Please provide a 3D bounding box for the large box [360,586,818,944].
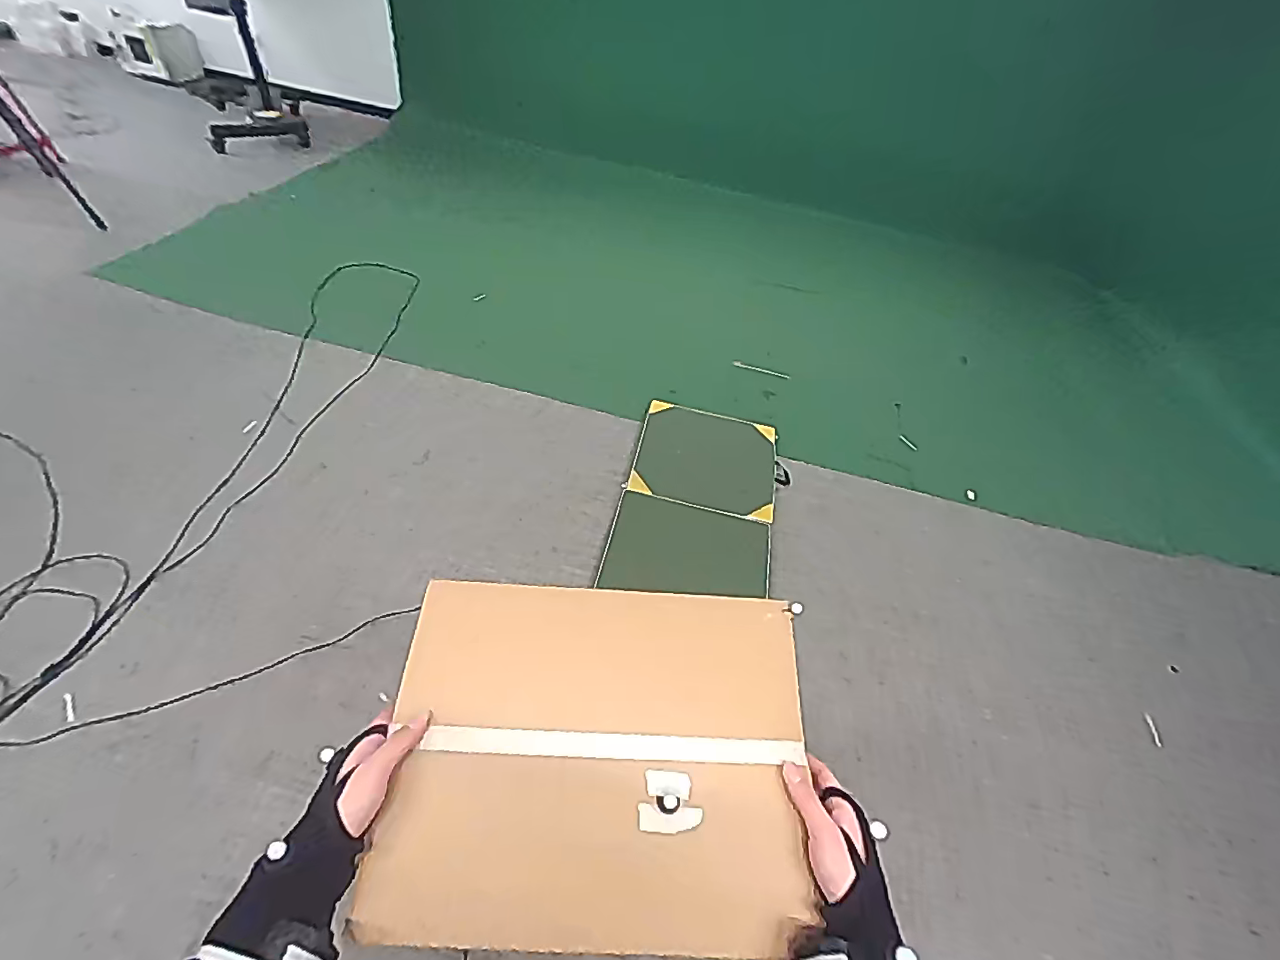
[{"bbox_3d":[-0.049,0.339,0.665,0.408,0.320,0.320,4,59,-3],"label":"large box"}]
